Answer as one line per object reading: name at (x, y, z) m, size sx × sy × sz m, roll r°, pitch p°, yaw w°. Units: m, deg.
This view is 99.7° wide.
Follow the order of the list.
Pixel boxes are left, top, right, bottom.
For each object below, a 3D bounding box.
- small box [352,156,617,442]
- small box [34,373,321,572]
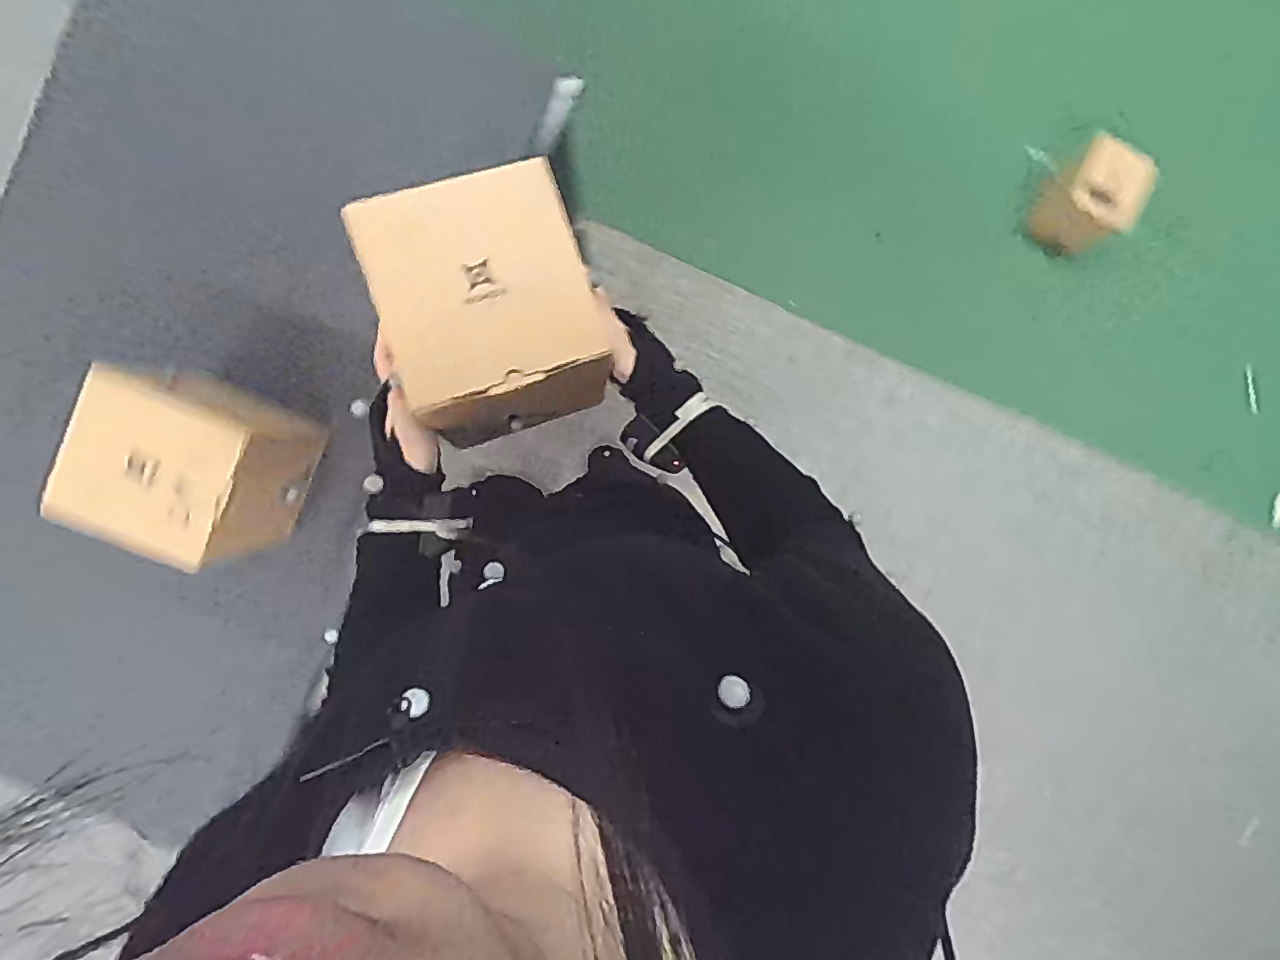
small box at (-0.132, -0.152, 0.504) m, size 0.168 × 0.176 × 0.179 m, roll -19°, pitch 87°, yaw -9°
small box at (-0.535, -0.012, 0.653) m, size 0.179 × 0.176 × 0.168 m, roll 23°, pitch 94°, yaw -4°
